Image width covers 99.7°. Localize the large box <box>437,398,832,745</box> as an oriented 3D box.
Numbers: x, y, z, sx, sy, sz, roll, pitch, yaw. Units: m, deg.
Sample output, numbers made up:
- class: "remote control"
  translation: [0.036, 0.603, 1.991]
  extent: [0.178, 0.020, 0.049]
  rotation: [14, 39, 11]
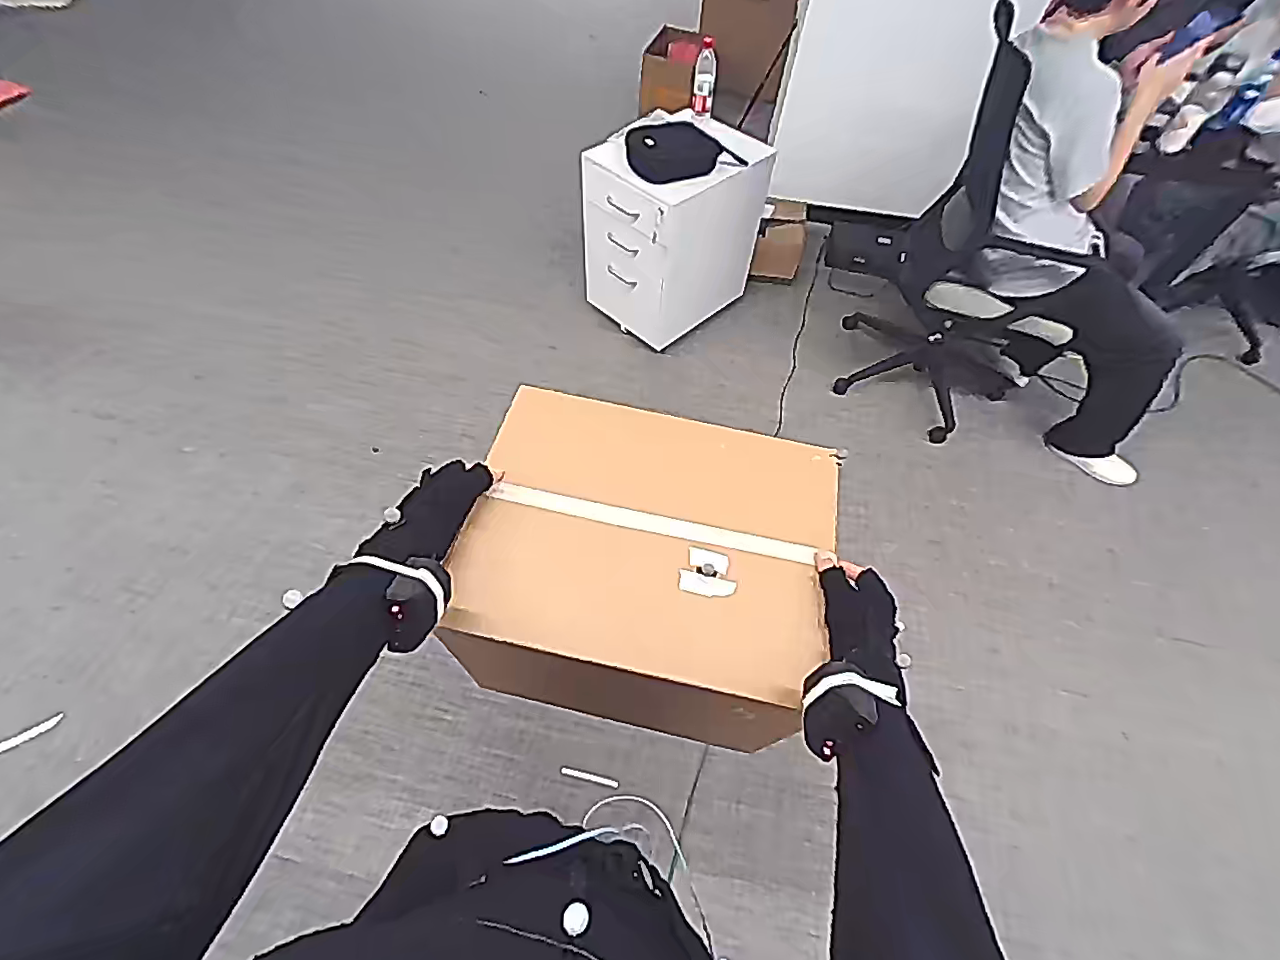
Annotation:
- class: "large box"
  translation: [0.005, 0.135, 0.733]
  extent: [0.408, 0.320, 0.320]
  rotation: [13, 58, 3]
